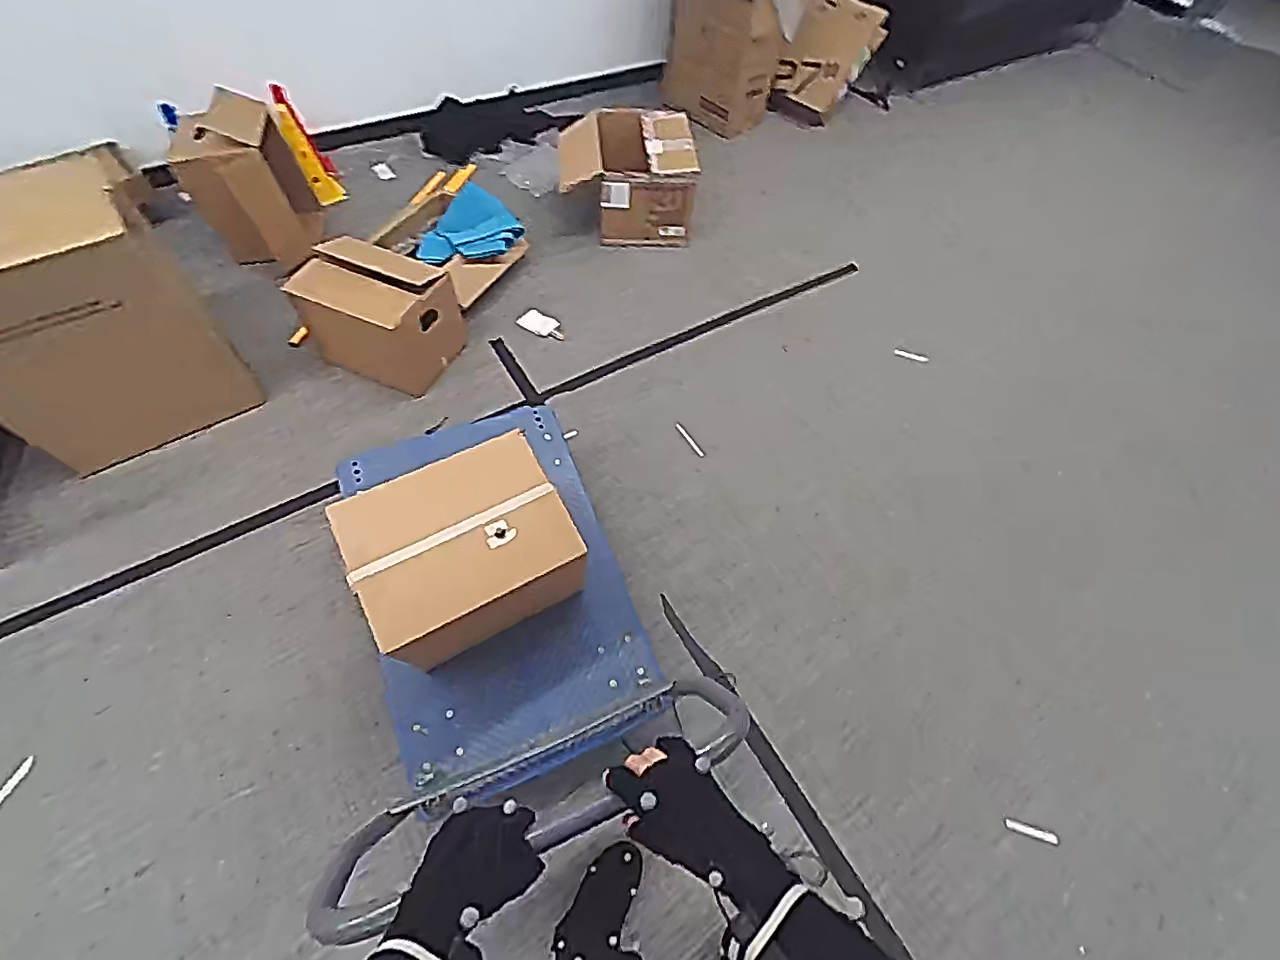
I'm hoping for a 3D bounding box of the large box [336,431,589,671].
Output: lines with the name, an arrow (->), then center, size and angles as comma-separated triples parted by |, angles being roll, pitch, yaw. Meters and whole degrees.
large box -> -0.362, 0.163, 1.185 | 0.408, 0.320, 0.320 | -25, 71, -19
